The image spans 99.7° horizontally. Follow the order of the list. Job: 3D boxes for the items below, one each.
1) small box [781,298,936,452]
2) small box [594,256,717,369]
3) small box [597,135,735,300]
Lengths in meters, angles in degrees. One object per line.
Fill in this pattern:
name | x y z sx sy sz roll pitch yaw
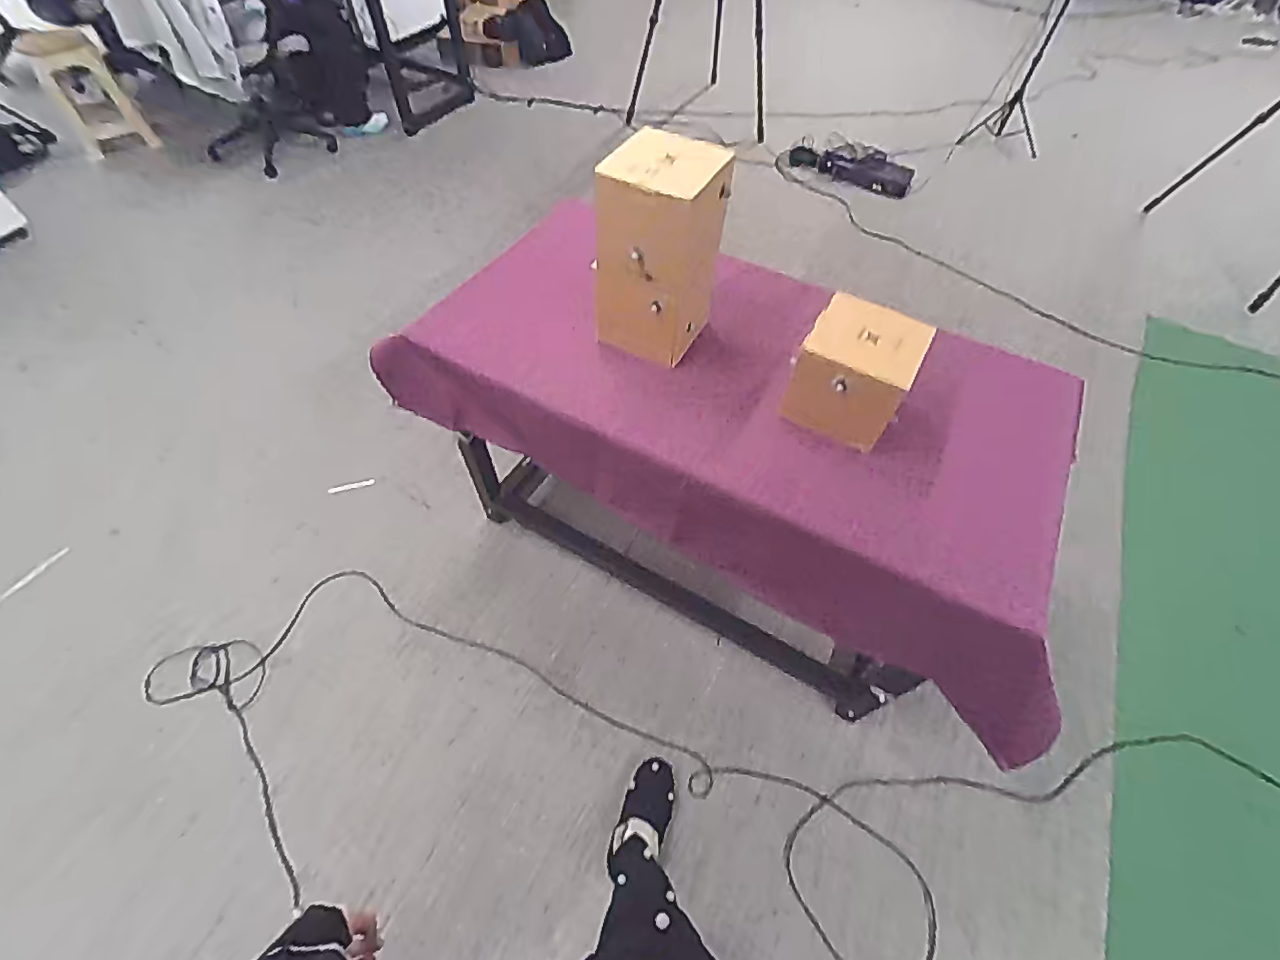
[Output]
small box | 0.366 -0.176 0.933 0.179 0.176 0.168 28 59 16
small box | 0.027 -0.343 1.043 0.179 0.176 0.168 25 58 14
small box | 0.040 -0.439 0.909 0.168 0.176 0.179 24 58 15
